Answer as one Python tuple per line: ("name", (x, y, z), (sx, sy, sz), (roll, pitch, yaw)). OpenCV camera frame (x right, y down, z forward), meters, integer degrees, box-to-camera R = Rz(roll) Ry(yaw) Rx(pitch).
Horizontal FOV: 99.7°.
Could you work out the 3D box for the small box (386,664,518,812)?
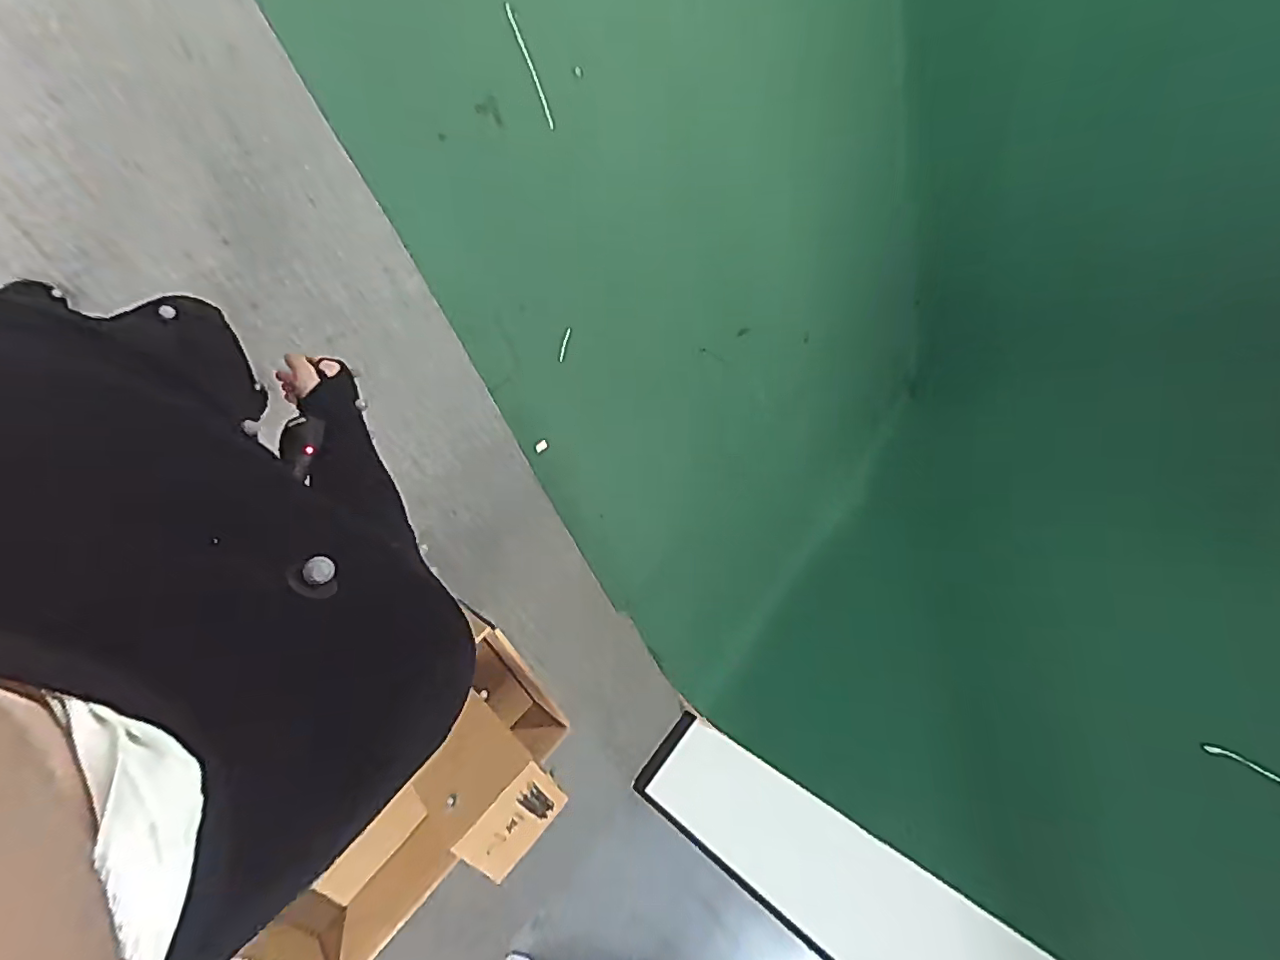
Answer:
("small box", (-0.388, 0.517, 1.101), (0.179, 0.176, 0.168), (-41, 130, -26))
